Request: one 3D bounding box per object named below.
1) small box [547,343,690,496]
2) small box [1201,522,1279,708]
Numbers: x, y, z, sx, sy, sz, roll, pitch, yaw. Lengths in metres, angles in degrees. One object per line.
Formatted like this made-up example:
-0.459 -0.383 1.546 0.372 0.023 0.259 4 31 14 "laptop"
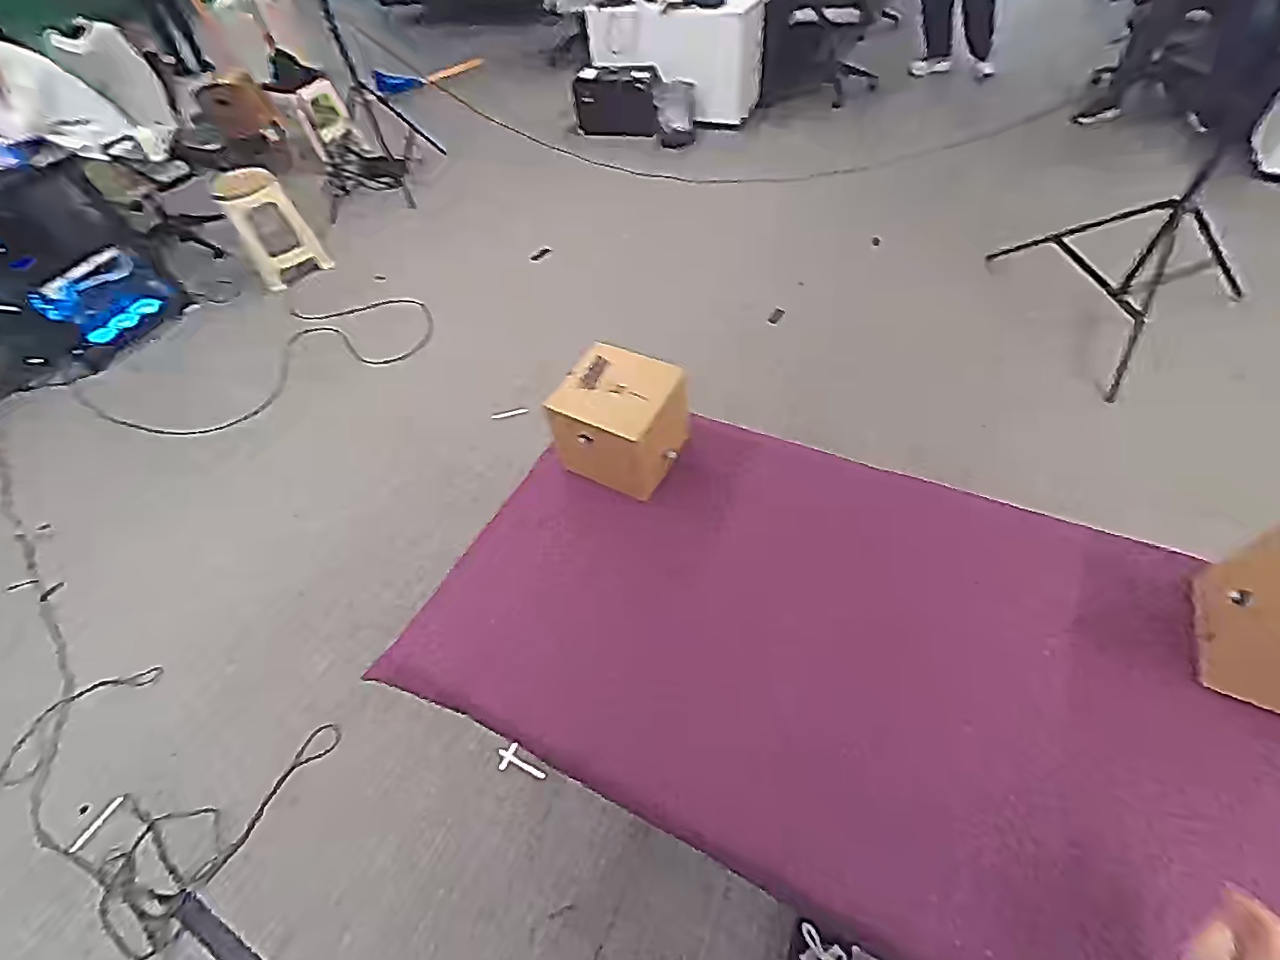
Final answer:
-0.027 -0.099 0.923 0.179 0.176 0.168 23 61 20 "small box"
0.800 0.174 0.618 0.179 0.176 0.168 21 58 20 "small box"
